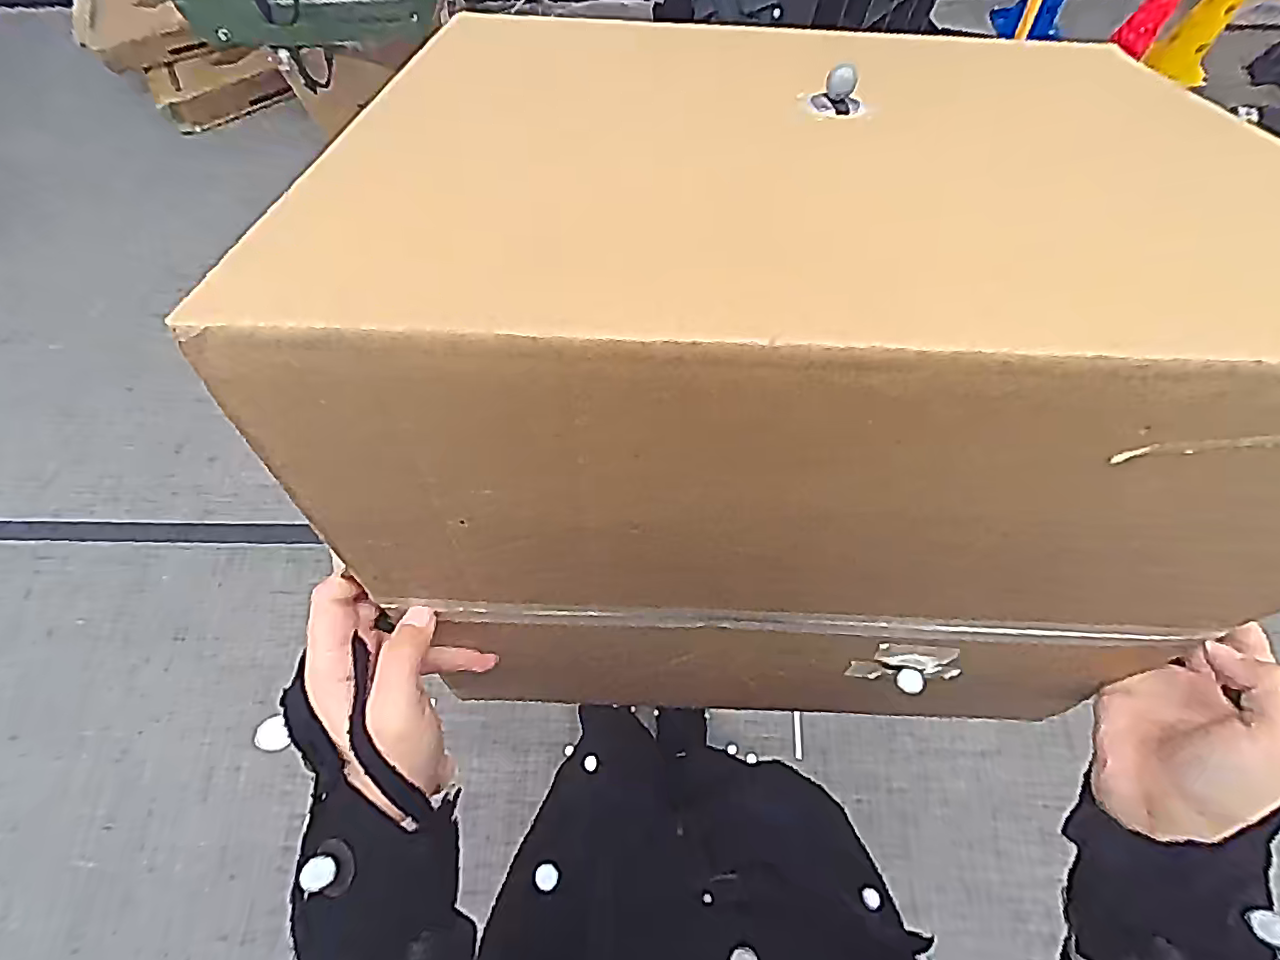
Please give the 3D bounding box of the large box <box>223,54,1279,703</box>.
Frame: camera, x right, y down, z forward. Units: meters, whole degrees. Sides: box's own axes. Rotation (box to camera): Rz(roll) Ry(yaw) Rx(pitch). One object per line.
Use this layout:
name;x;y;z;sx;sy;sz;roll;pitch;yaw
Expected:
large box;0.075;-0.054;0.361;0.408;0.320;0.320;1;53;0
